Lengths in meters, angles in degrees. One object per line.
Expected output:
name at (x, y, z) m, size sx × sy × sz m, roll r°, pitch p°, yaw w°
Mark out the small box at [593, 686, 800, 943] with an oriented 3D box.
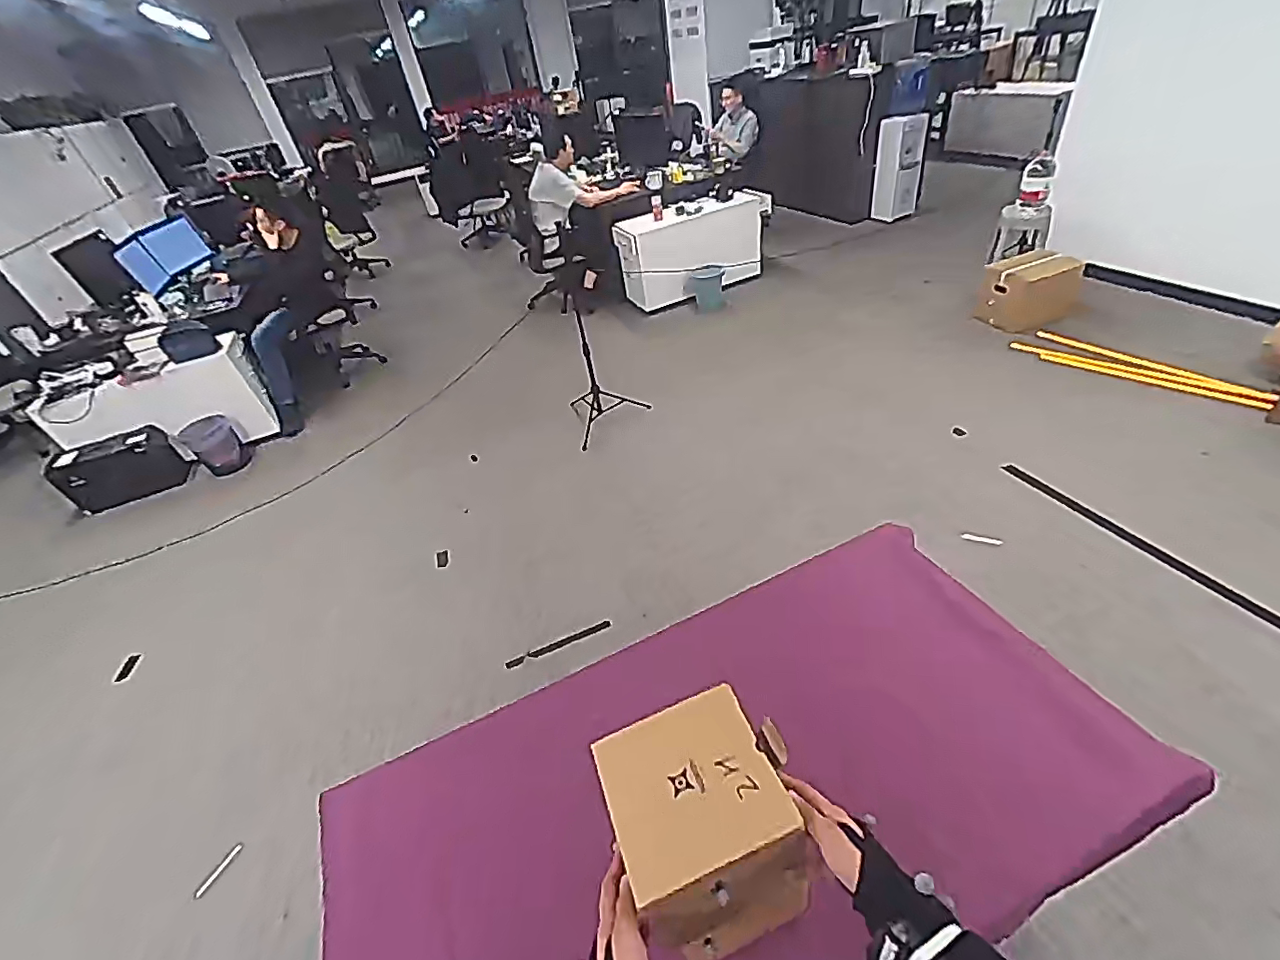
small box at (0.066, 0.376, 0.612) m, size 0.179 × 0.176 × 0.168 m, roll -20°, pitch 39°, yaw -9°
